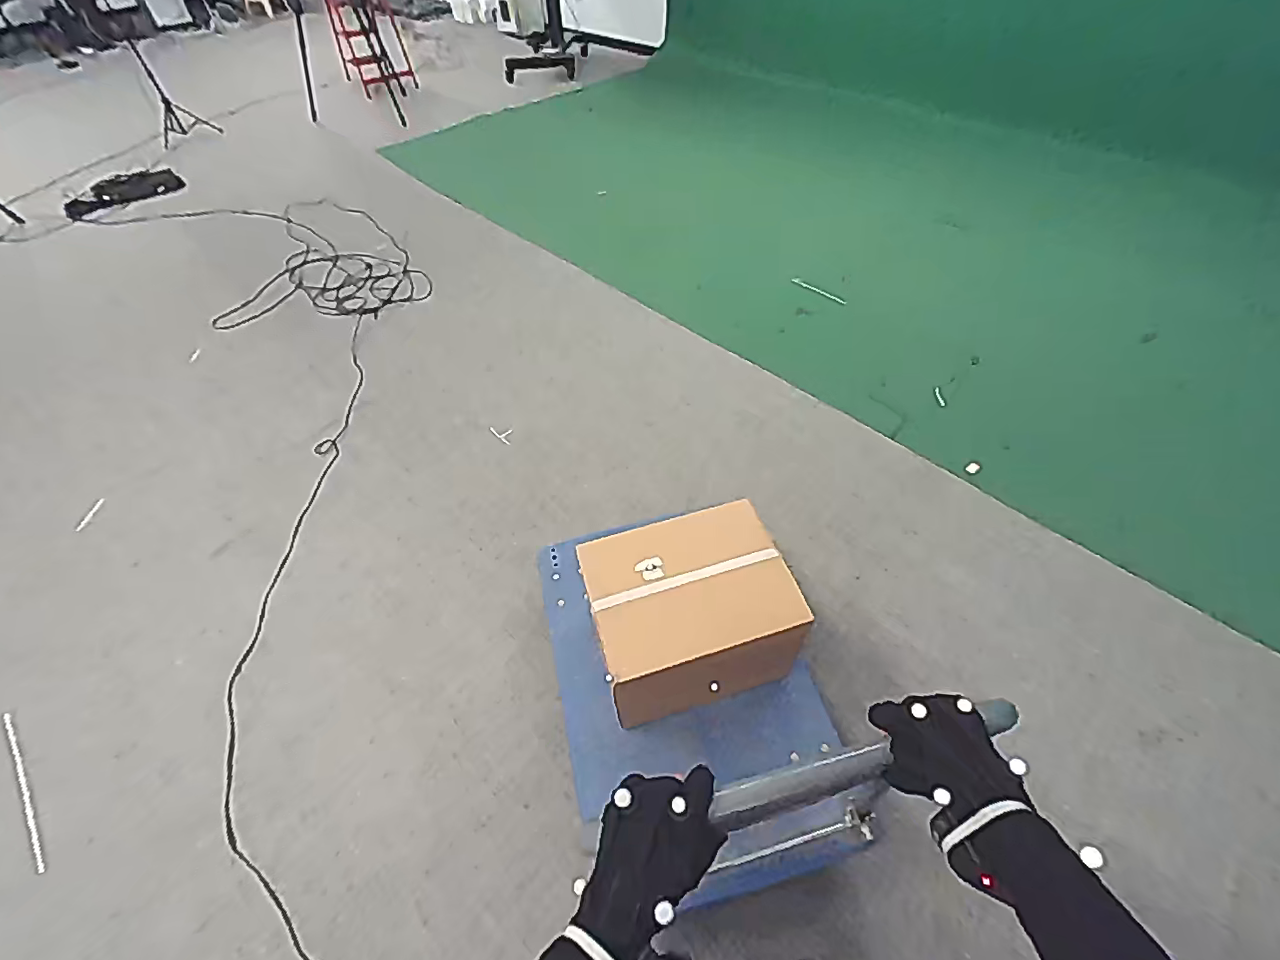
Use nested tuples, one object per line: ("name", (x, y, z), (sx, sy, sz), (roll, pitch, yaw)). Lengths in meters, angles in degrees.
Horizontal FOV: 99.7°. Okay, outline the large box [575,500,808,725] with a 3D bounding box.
("large box", (0.100, 0.300, 1.218), (0.408, 0.320, 0.320), (-15, 51, -9))
